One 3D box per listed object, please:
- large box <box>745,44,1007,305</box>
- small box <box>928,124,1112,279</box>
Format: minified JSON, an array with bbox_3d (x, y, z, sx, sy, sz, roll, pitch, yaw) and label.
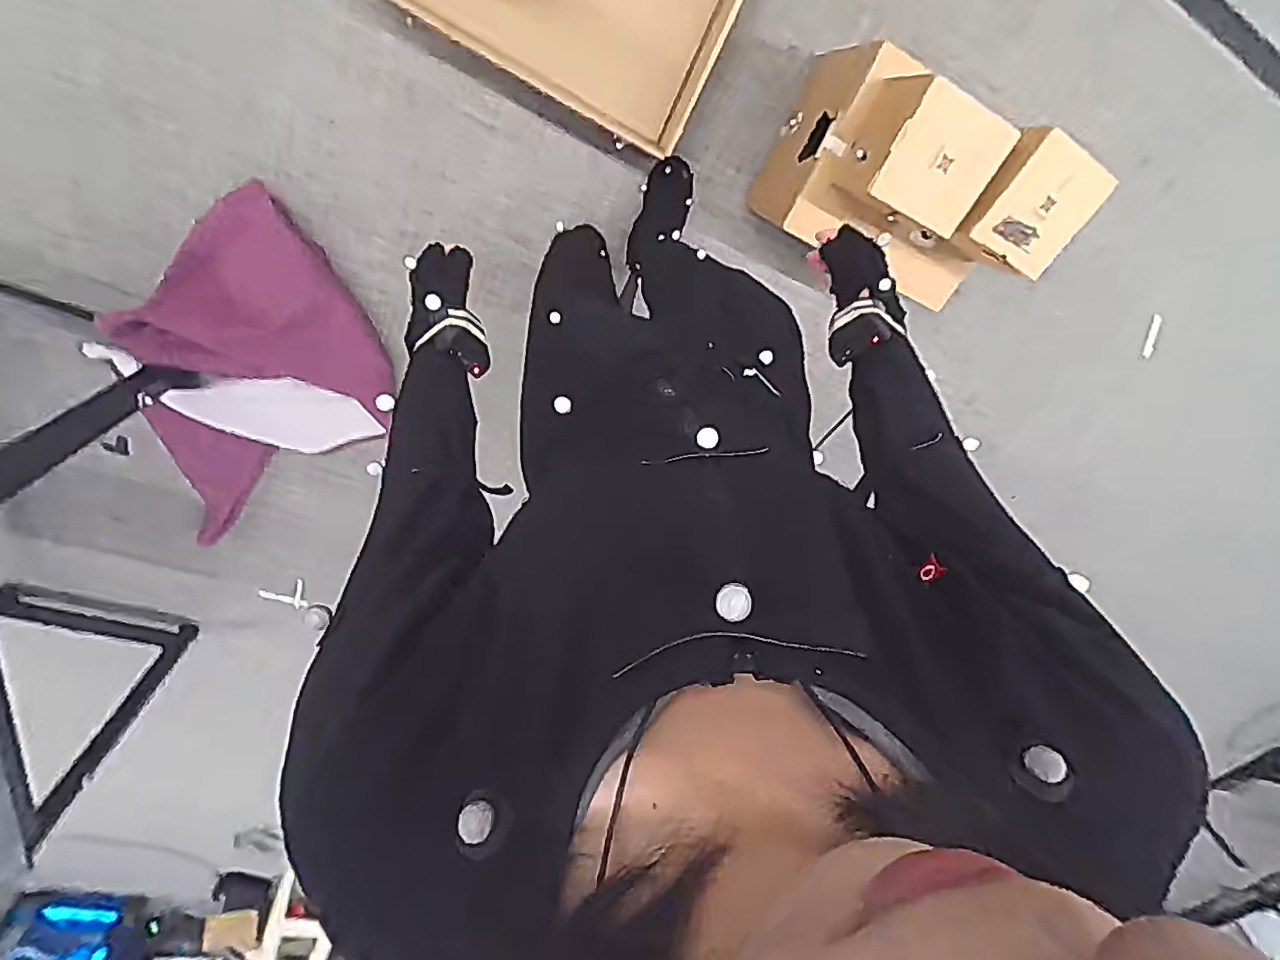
[{"bbox_3d":[0.494,-0.625,1.134,0.408,0.320,0.320,18,121,-18],"label":"large box"},{"bbox_3d":[0.643,-0.486,0.946,0.168,0.176,0.179,23,118,-19],"label":"small box"}]
